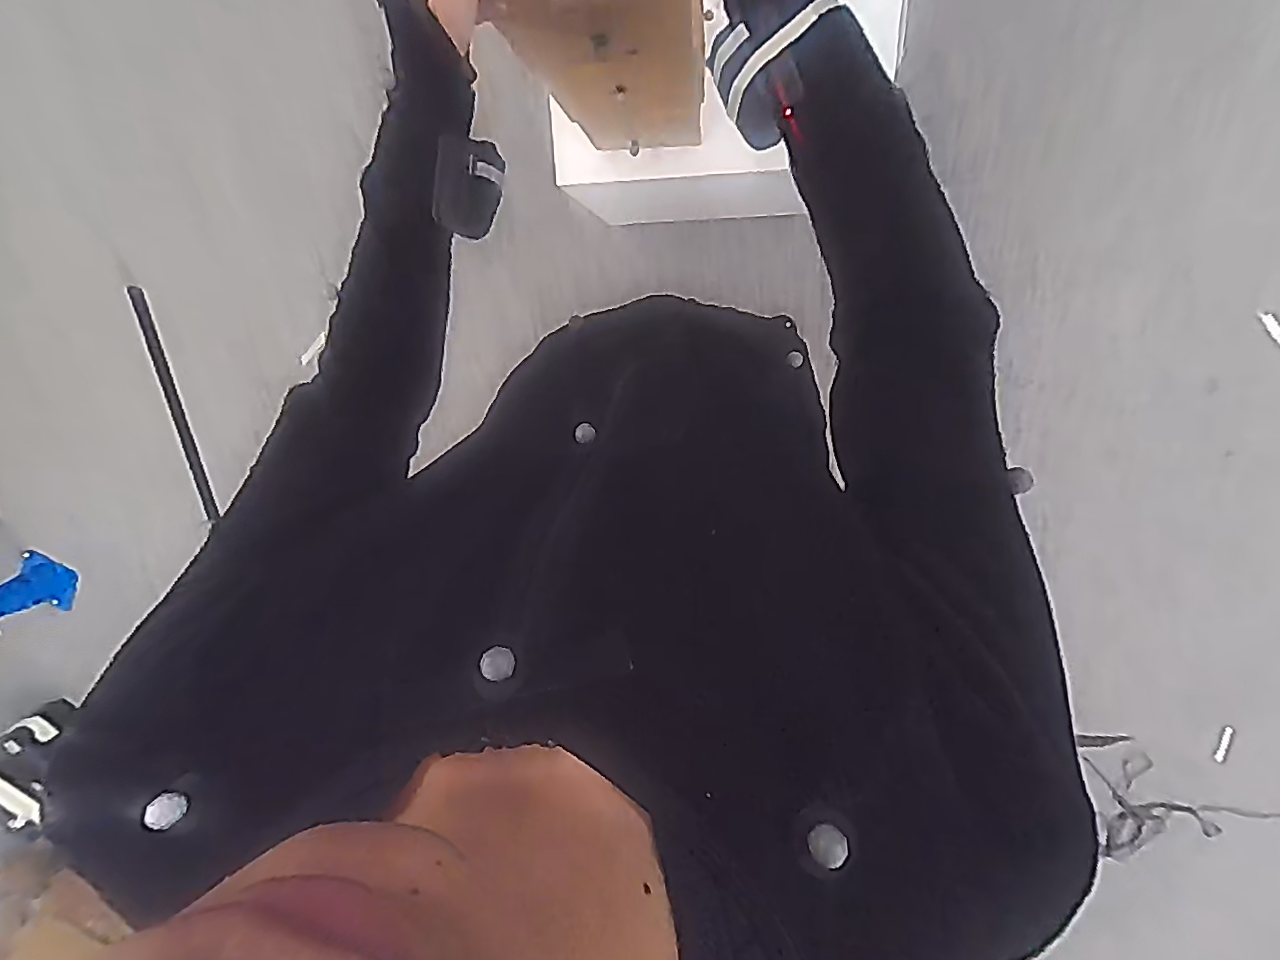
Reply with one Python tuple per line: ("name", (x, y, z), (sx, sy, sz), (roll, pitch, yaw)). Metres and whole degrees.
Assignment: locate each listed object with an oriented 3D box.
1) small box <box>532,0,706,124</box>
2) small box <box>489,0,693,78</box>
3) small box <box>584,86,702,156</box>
("small box", (-0.021, -0.515, 0.590), (0.179, 0.176, 0.168), (-3, 108, 9))
("small box", (-0.044, -0.466, 0.434), (0.168, 0.176, 0.179), (-3, 109, 8))
("small box", (0.002, -0.569, 0.744), (0.168, 0.176, 0.179), (1, 108, 6))
